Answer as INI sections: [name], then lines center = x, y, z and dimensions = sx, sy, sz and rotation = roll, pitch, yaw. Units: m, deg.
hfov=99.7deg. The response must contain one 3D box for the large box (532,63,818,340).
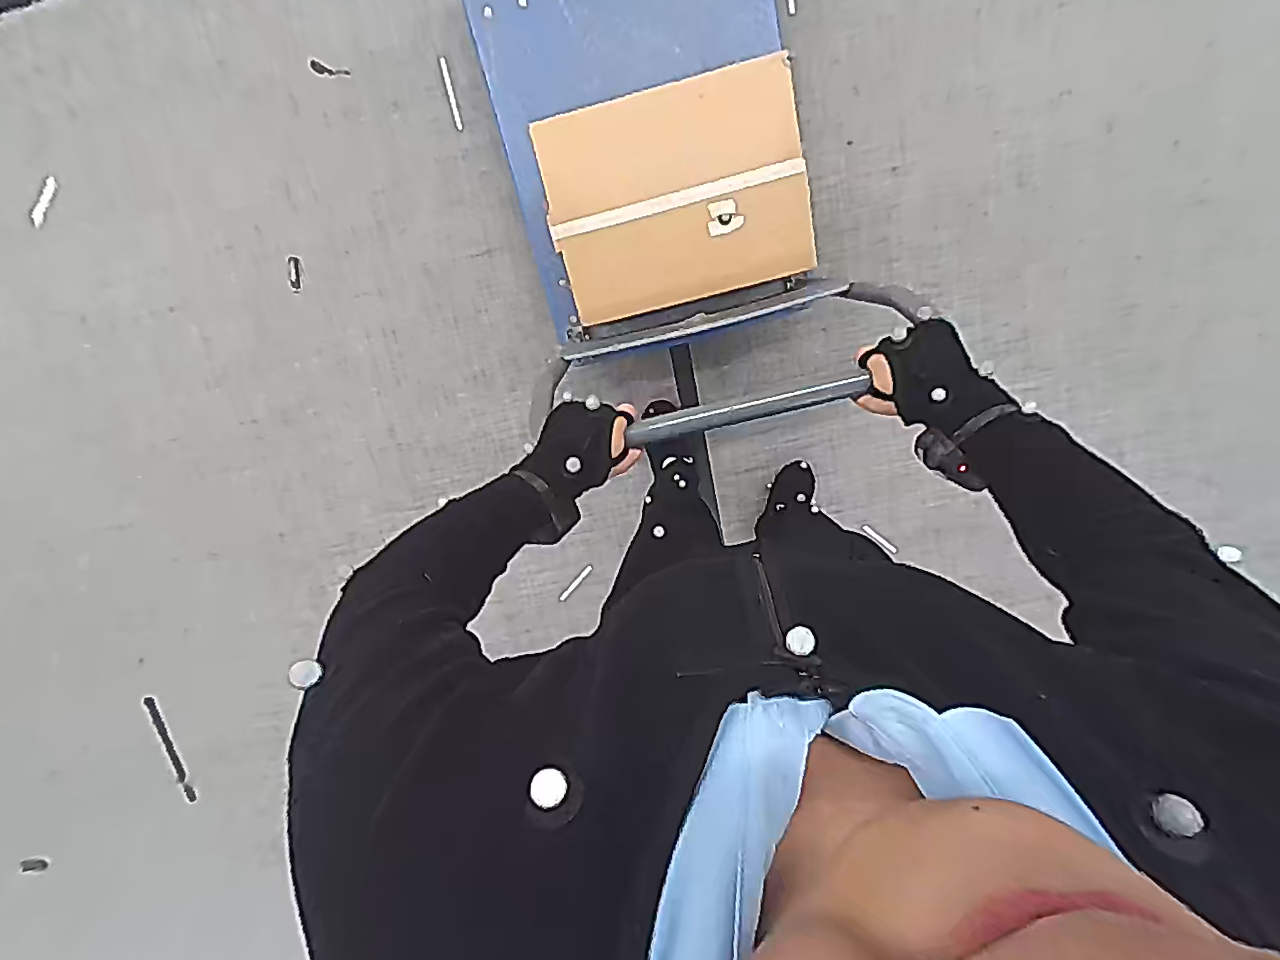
[large box]
center = 0.060, -0.469, 0.992
dimensions = 0.408, 0.320, 0.320
rotation = -13, 109, 4
